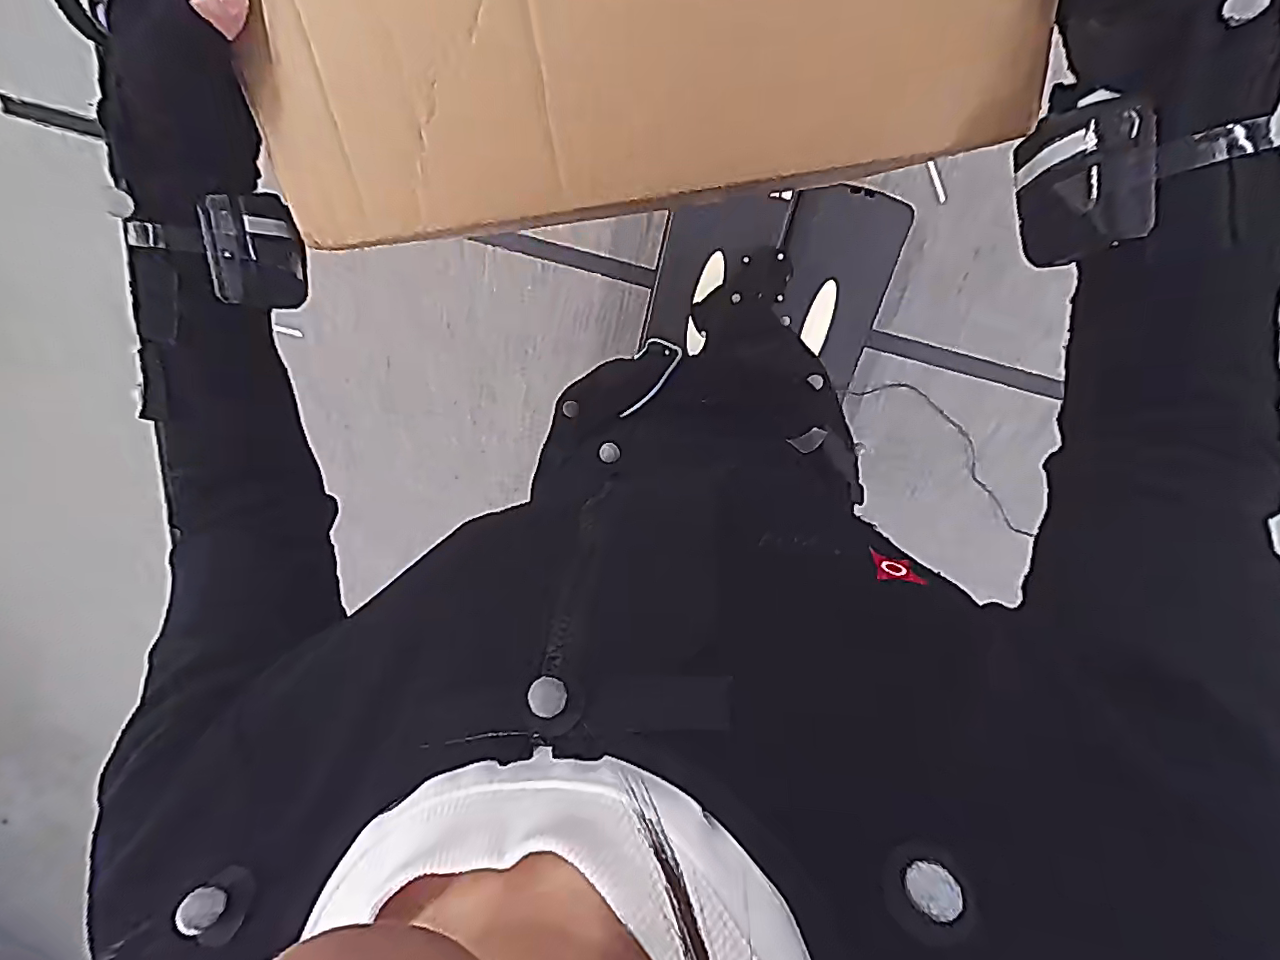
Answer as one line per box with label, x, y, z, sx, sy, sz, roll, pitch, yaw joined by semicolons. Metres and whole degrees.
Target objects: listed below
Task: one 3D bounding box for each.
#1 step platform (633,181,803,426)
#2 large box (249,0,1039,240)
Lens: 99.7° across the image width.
step platform;0.183;-0.484;1.378;0.286;0.204;0.684;14;112;2
large box;-0.004;-0.369;0.379;0.408;0.320;0.320;-4;116;9
